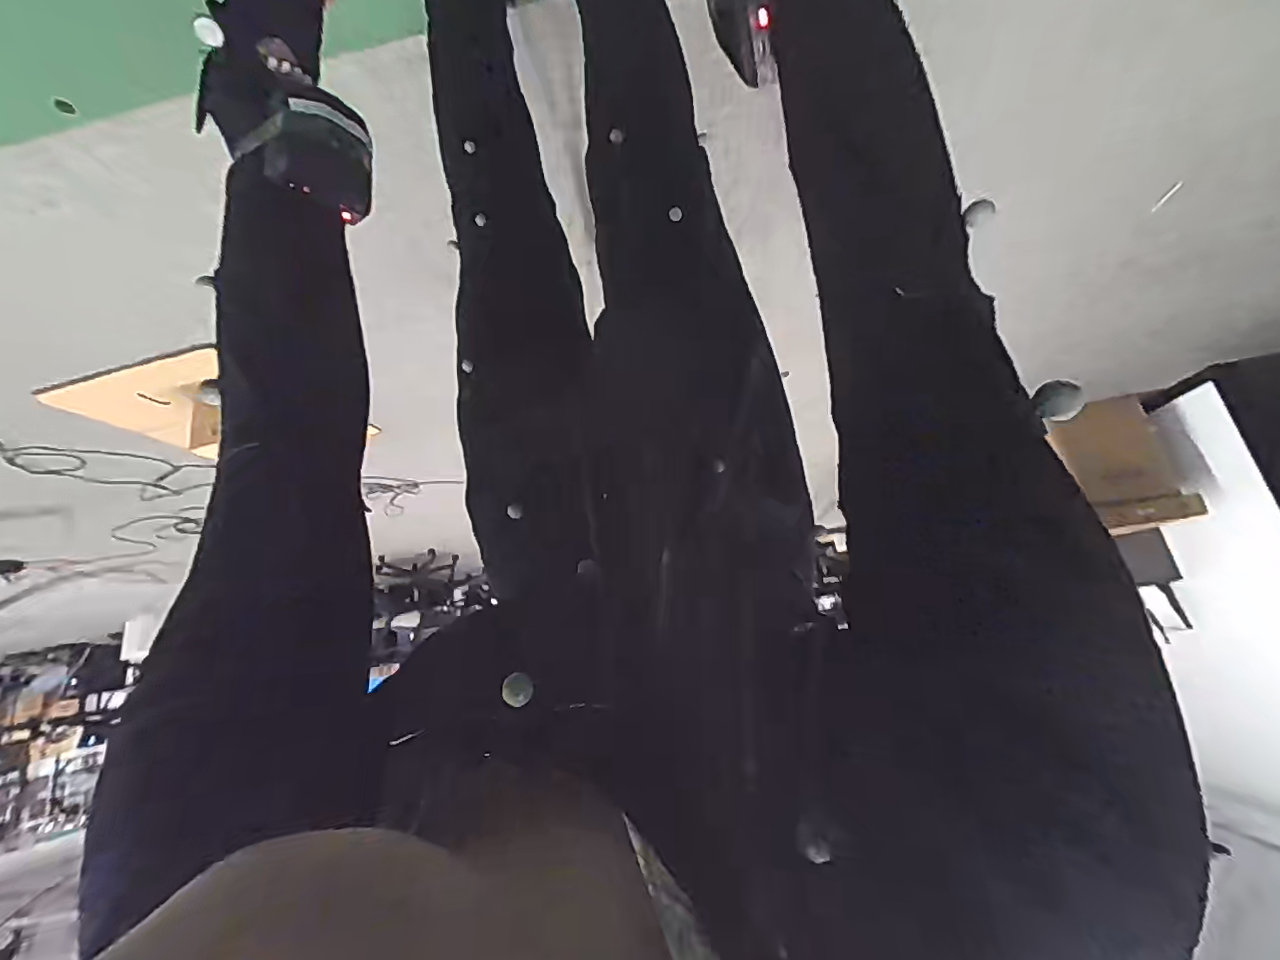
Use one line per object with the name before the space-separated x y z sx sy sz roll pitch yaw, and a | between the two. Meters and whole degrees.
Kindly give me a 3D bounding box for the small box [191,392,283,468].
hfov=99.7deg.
small box | -1.263 -0.157 1.709 0.179 0.176 0.168 -14 163 9
